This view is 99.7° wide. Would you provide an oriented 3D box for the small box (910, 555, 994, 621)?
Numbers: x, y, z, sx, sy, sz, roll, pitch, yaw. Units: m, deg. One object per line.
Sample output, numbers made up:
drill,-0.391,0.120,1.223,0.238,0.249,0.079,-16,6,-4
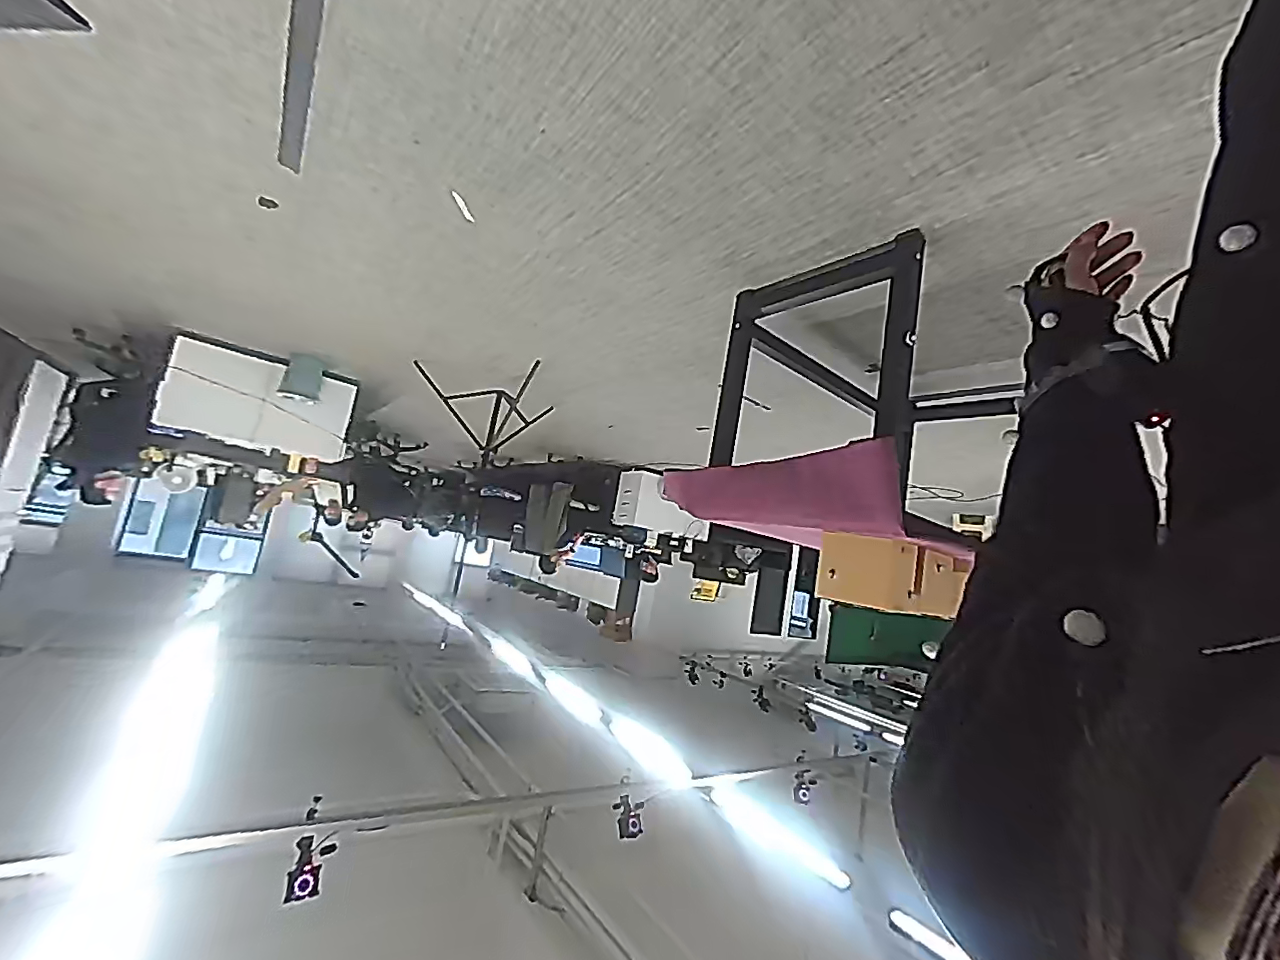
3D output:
small box,0.946,0.323,1.636,0.168,0.176,0.179,15,171,-34
